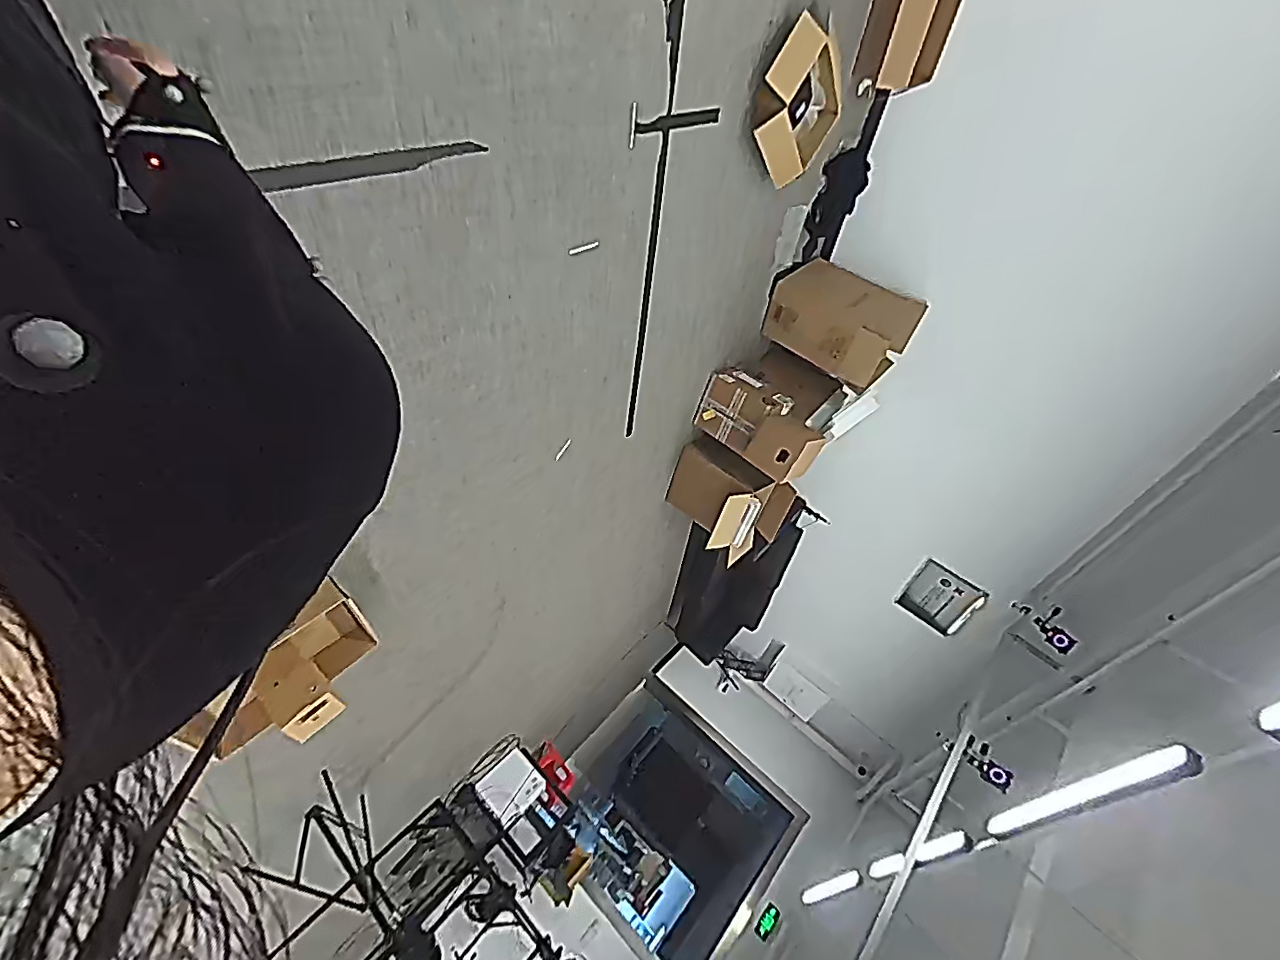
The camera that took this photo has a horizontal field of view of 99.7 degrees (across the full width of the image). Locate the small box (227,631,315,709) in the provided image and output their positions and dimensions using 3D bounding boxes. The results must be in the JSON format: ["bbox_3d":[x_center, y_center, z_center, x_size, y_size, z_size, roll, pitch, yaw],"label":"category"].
[{"bbox_3d":[-1.297,0.666,1.905,0.168,0.176,0.179,-40,153,-30],"label":"small box"}]
